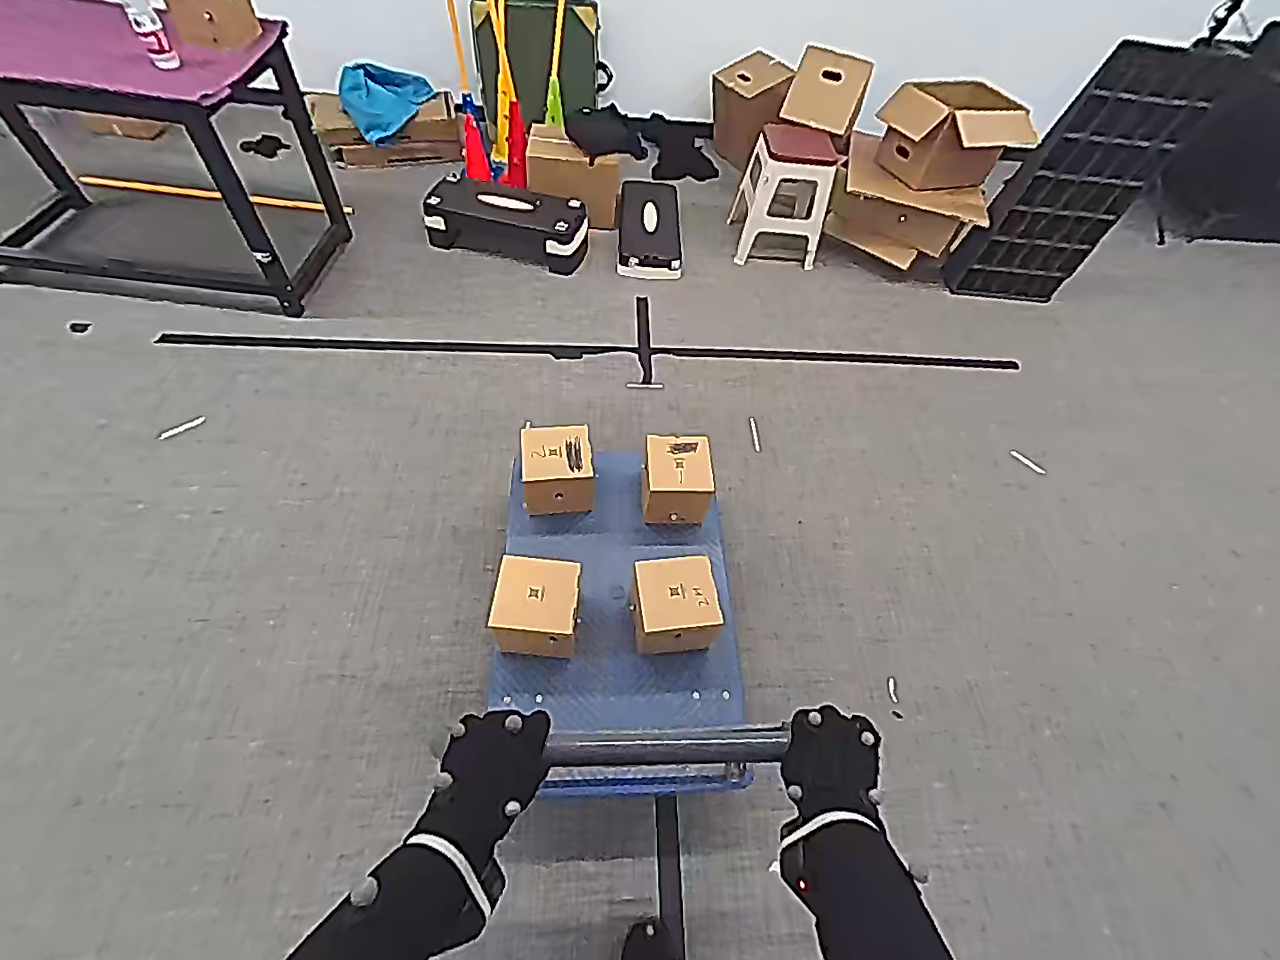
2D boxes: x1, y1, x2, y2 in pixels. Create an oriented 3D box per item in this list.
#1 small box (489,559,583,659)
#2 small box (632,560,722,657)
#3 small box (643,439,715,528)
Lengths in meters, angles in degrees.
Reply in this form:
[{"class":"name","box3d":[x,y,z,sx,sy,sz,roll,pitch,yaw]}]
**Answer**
[{"class":"small box","box3d":[-0.229,0.296,1.225,0.179,0.176,0.168,7,55,-3]},{"class":"small box","box3d":[0.077,0.301,1.255,0.179,0.176,0.168,-3,57,-8]},{"class":"small box","box3d":[0.097,0.011,1.455,0.168,0.176,0.179,1,57,-5]}]
